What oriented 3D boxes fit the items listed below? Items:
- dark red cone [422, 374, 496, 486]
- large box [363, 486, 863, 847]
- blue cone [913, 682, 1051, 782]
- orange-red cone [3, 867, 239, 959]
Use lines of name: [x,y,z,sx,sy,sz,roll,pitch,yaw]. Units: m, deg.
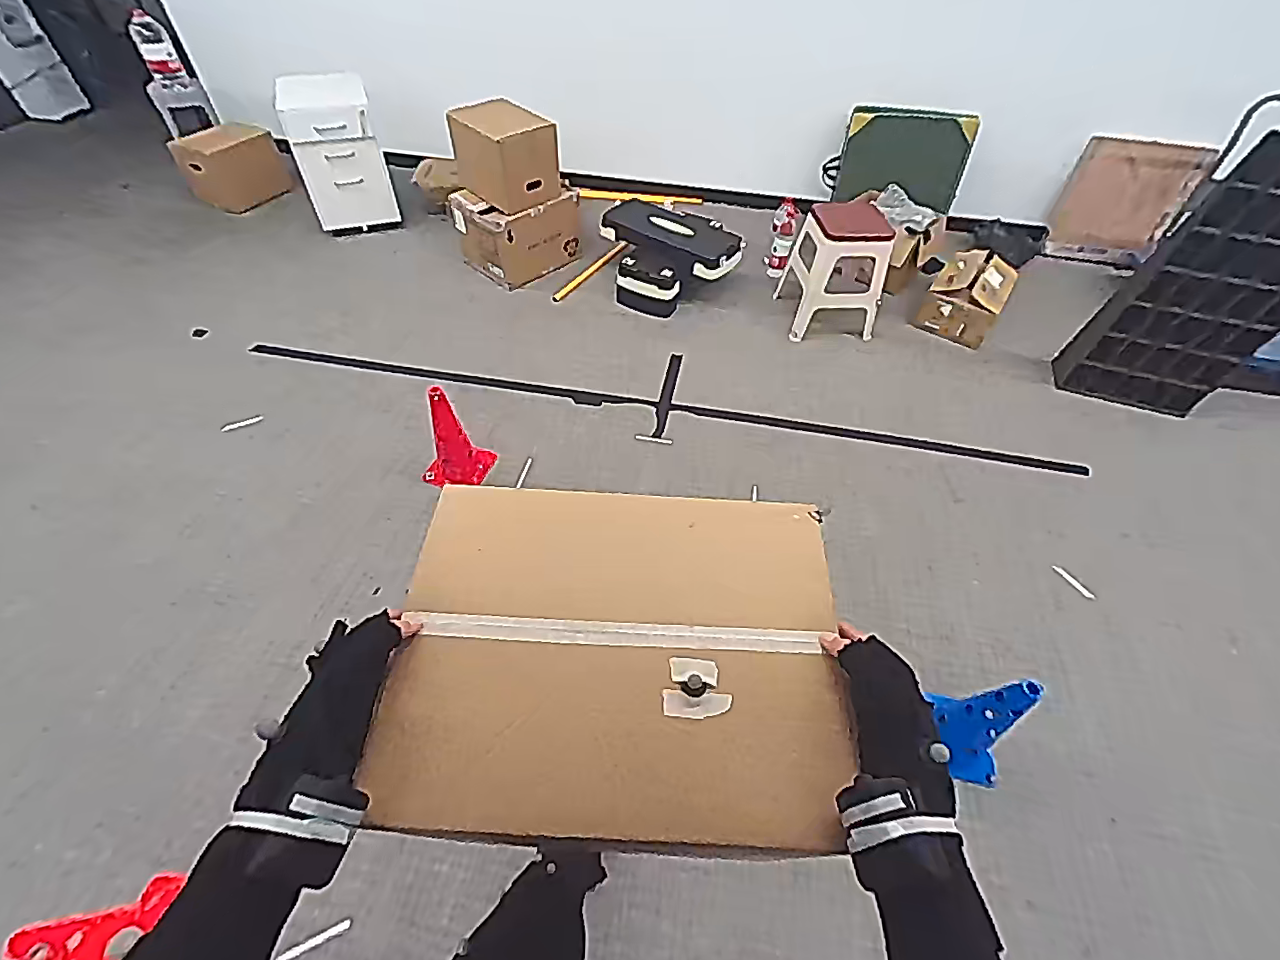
dark red cone: [-0.613,-0.176,1.743,0.201,0.394,0.202,15,51,8]
large box: [-0.022,0.228,0.629,0.408,0.320,0.320,4,54,0]
blue cone: [0.810,0.552,1.261,0.192,0.380,0.193,13,51,7]
orange-red cone: [-0.933,0.798,0.943,0.198,0.360,0.199,7,52,4]
